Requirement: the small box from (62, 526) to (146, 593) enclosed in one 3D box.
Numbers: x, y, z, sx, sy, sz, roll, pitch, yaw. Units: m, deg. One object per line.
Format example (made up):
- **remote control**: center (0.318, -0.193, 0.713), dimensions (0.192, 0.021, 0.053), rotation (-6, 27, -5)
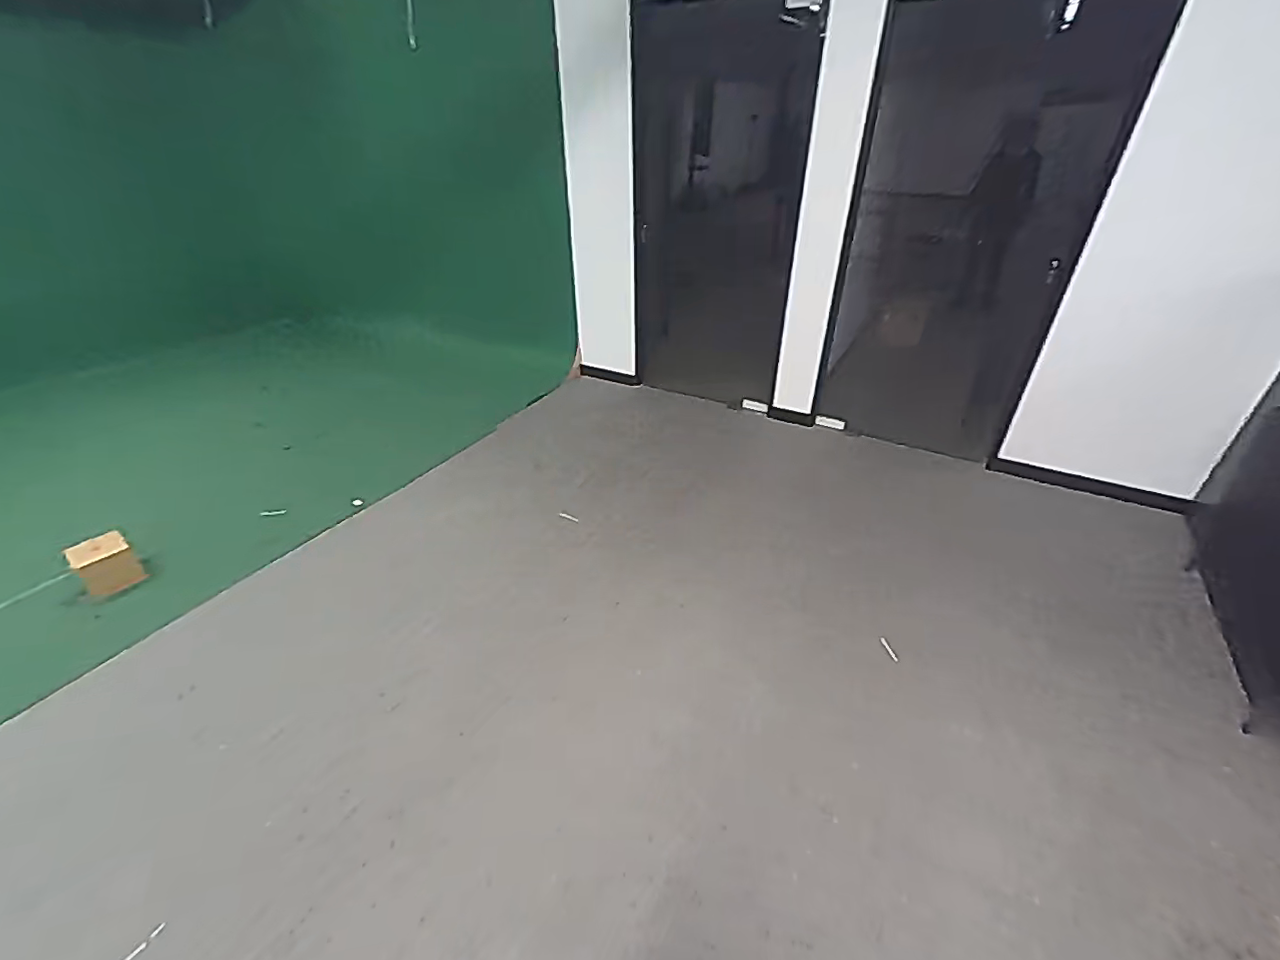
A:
- **small box**: center (-2.090, 0.315, 2.117), dimensions (0.179, 0.176, 0.168), rotation (24, 40, 31)
